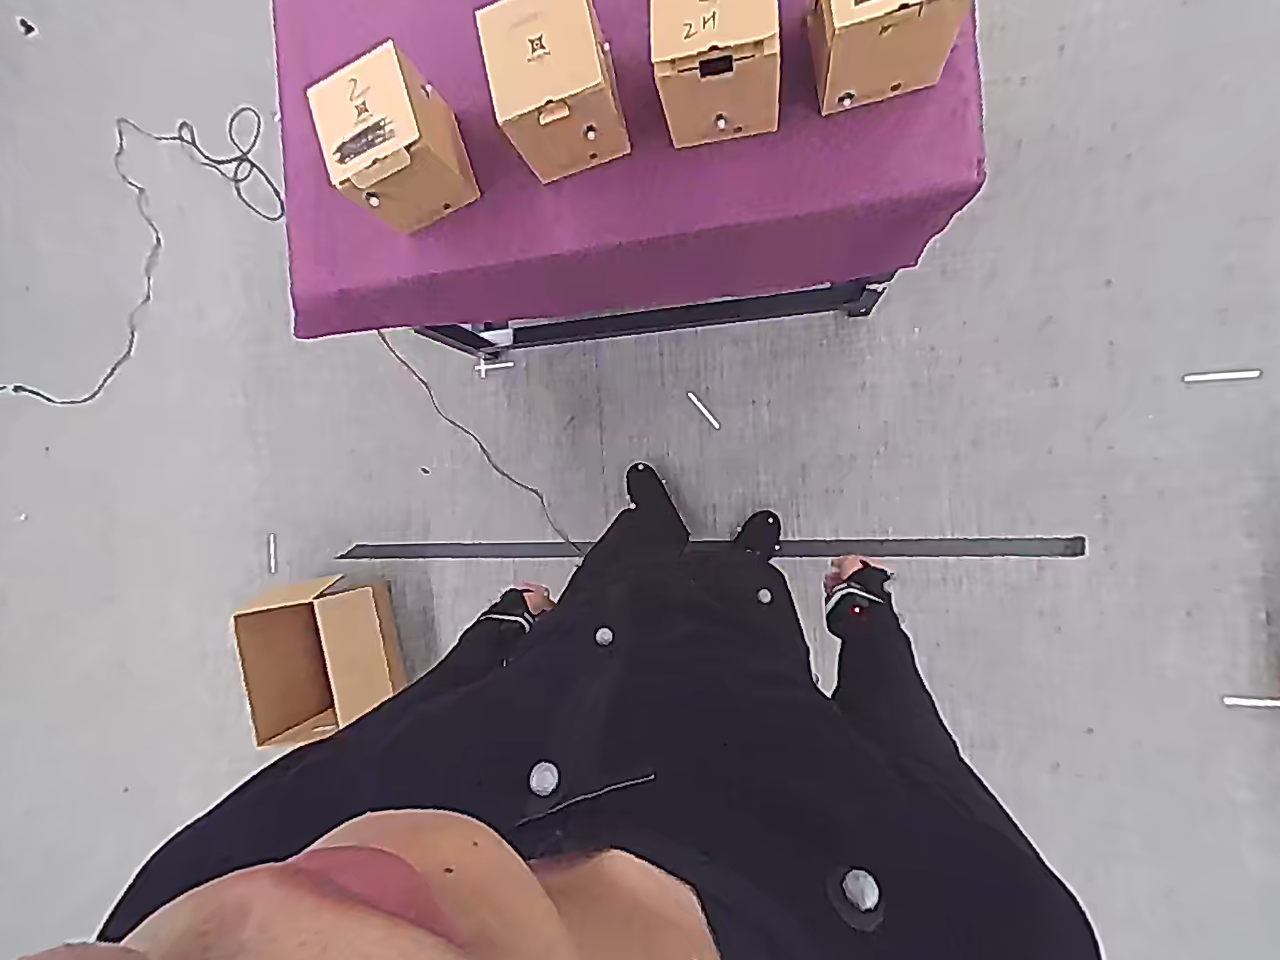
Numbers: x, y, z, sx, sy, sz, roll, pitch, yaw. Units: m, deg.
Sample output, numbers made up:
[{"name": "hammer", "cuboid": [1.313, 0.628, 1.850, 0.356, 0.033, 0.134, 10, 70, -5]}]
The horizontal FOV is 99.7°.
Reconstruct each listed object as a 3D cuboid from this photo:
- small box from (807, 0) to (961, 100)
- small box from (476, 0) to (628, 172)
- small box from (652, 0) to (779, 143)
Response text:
[{"name": "small box", "cuboid": [0.325, -0.661, 0.735, 0.168, 0.176, 0.179, -8, 88, 13]}, {"name": "small box", "cuboid": [-0.127, -0.615, 0.842, 0.168, 0.176, 0.179, -12, 88, 12]}, {"name": "small box", "cuboid": [0.112, -0.635, 0.785, 0.168, 0.176, 0.179, -2, 90, 13]}]
